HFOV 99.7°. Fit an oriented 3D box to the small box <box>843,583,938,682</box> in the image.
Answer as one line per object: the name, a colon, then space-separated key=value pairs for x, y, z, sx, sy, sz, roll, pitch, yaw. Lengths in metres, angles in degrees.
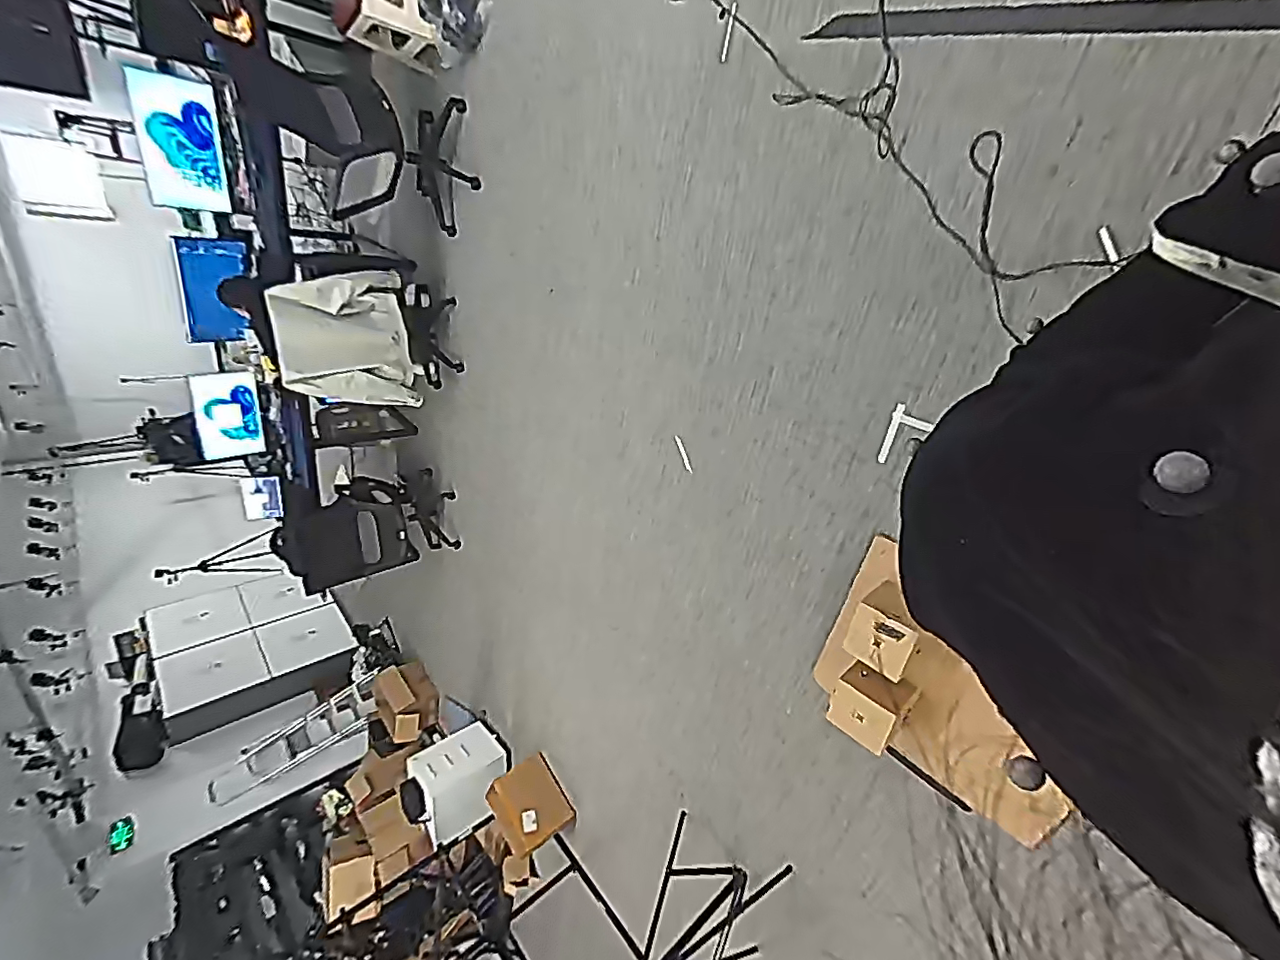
small box: x=0.702 y=0.415 z=1.509 sx=0.168 sy=0.176 sz=0.179 roll=30 pitch=123 yaw=38

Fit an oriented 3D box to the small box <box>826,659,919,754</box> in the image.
small box: x=0.689 y=0.657 z=1.603 sx=0.179 sy=0.176 sz=0.168 roll=27 pitch=122 yaw=39
